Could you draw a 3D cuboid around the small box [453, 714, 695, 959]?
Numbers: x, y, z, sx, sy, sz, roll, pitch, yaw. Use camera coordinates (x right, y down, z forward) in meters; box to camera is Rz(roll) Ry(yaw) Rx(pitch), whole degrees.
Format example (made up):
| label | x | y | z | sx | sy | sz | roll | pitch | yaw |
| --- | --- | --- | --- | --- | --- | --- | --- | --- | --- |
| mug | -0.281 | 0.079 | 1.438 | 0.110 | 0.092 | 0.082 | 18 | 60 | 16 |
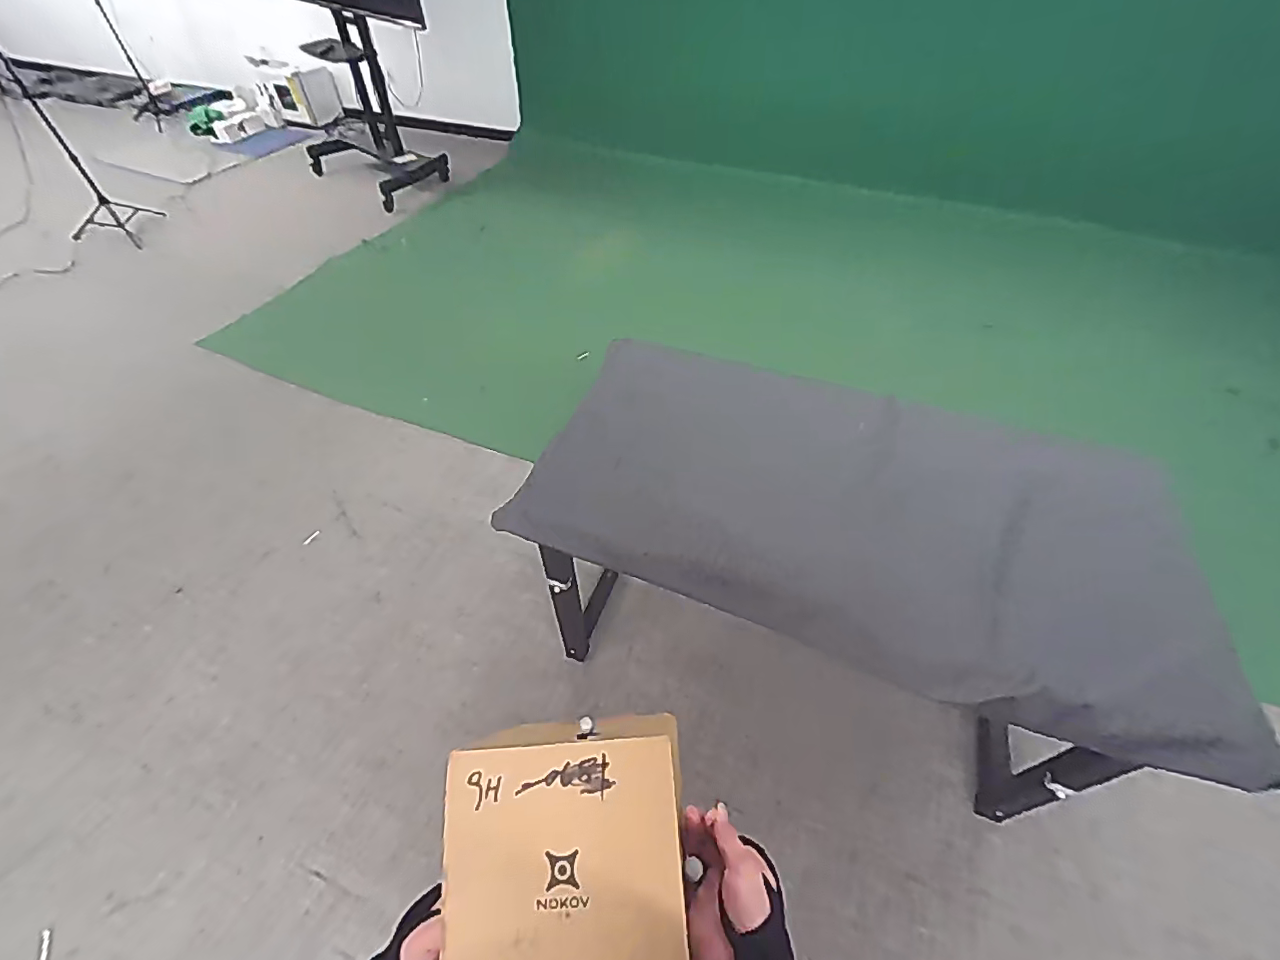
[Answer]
| label | x | y | z | sx | sy | sz | roll | pitch | yaw |
| --- | --- | --- | --- | --- | --- | --- | --- | --- | --- |
| small box | -0.043 | 0.305 | 0.451 | 0.168 | 0.176 | 0.179 | -5 | 73 | 2 |
